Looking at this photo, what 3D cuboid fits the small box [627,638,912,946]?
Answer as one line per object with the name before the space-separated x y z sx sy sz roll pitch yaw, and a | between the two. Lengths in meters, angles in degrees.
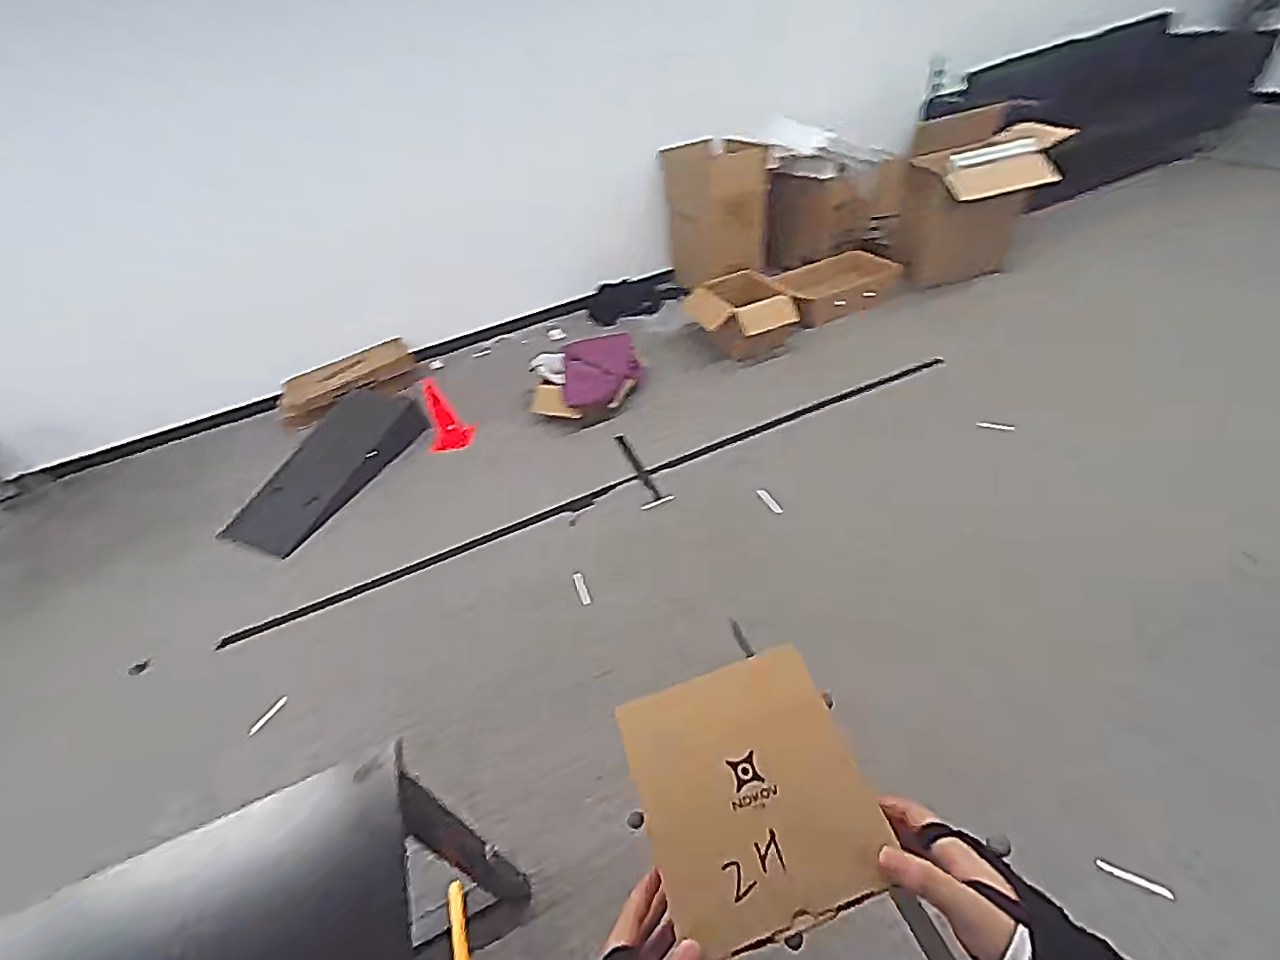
small box | 0.096 0.273 0.477 0.168 0.176 0.179 -18 52 -4
